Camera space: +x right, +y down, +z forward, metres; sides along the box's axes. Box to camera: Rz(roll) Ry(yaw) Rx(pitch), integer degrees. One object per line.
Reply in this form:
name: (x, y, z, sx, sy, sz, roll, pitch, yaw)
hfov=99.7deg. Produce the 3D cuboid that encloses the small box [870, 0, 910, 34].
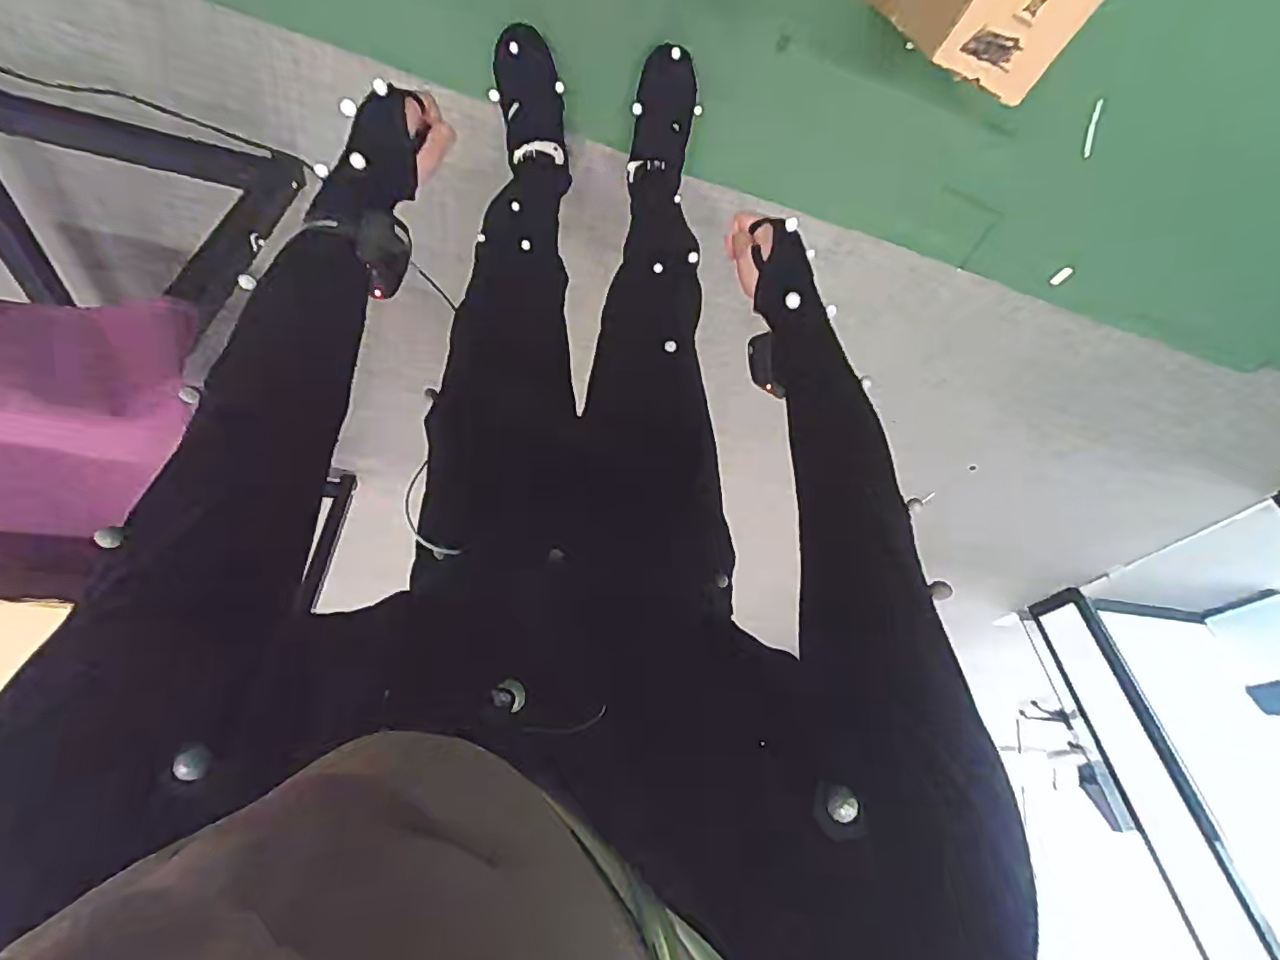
small box: (0.497, -0.806, 0.849, 0.168, 0.176, 0.179, 11, 142, -18)

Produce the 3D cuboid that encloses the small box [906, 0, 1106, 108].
small box: (0.504, -0.674, 0.752, 0.168, 0.176, 0.179, 11, 141, -19)
